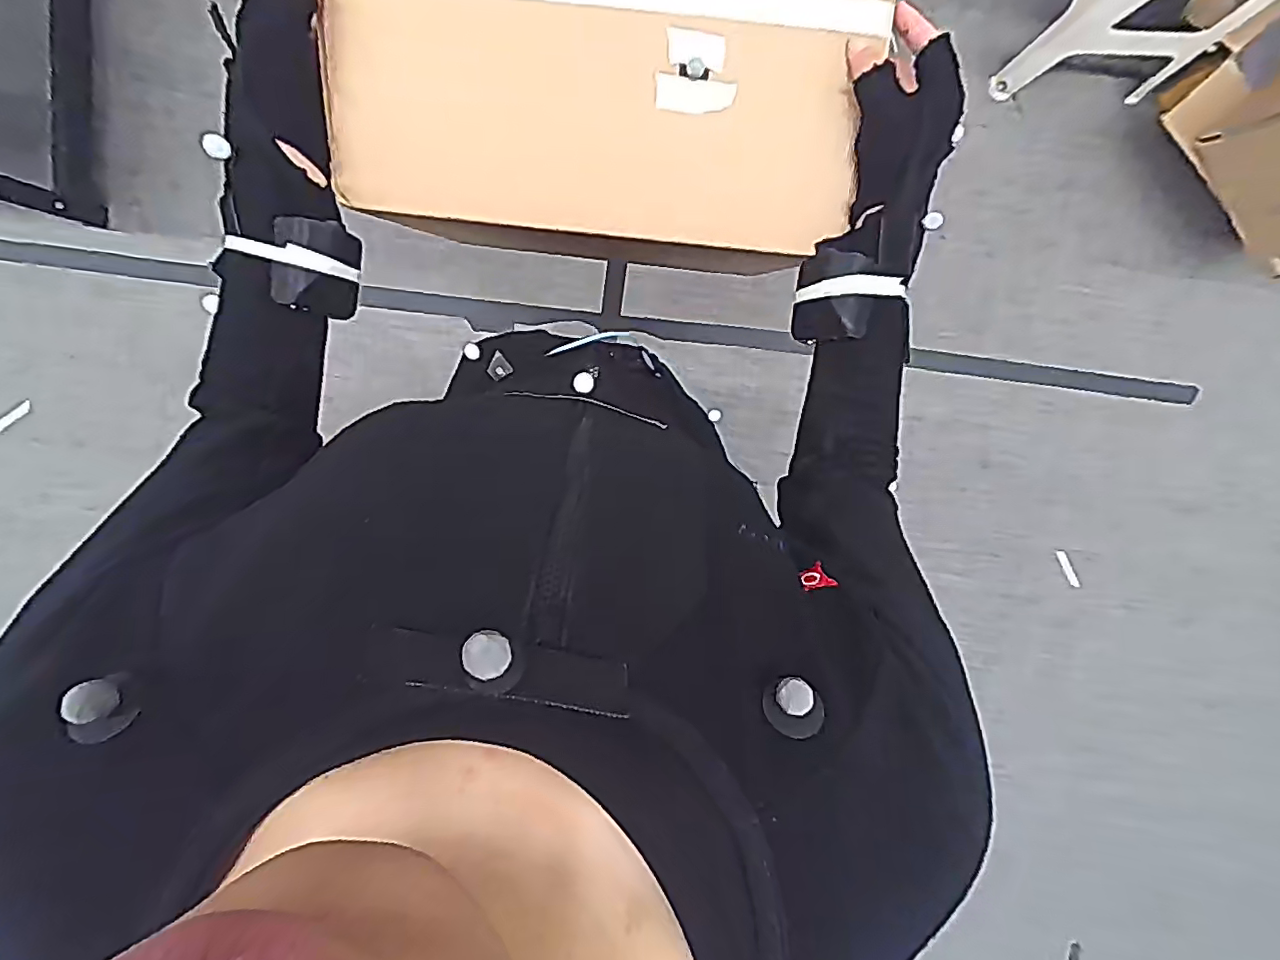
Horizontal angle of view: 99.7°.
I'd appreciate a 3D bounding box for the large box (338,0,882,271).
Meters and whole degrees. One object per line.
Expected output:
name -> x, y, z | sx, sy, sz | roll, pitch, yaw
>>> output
large box -> -0.025, -0.396, 0.537 | 0.408, 0.320, 0.320 | 5, 109, -3
